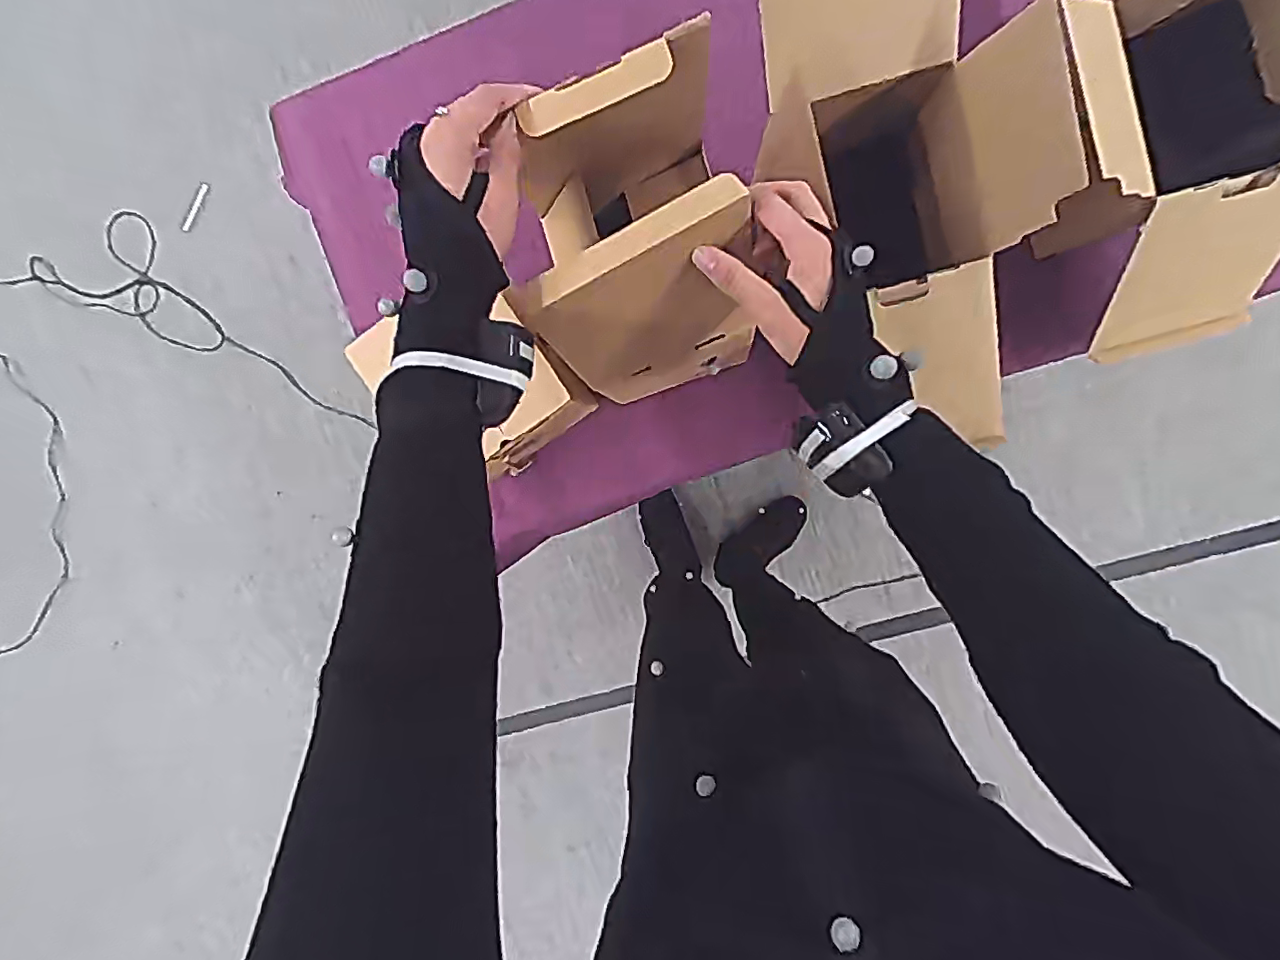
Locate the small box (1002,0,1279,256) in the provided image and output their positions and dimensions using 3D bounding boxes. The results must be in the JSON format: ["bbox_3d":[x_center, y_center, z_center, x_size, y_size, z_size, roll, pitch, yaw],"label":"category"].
[{"bbox_3d":[0.497,-0.352,0.532,0.168,0.176,0.179,-15,94,6],"label":"small box"}]
